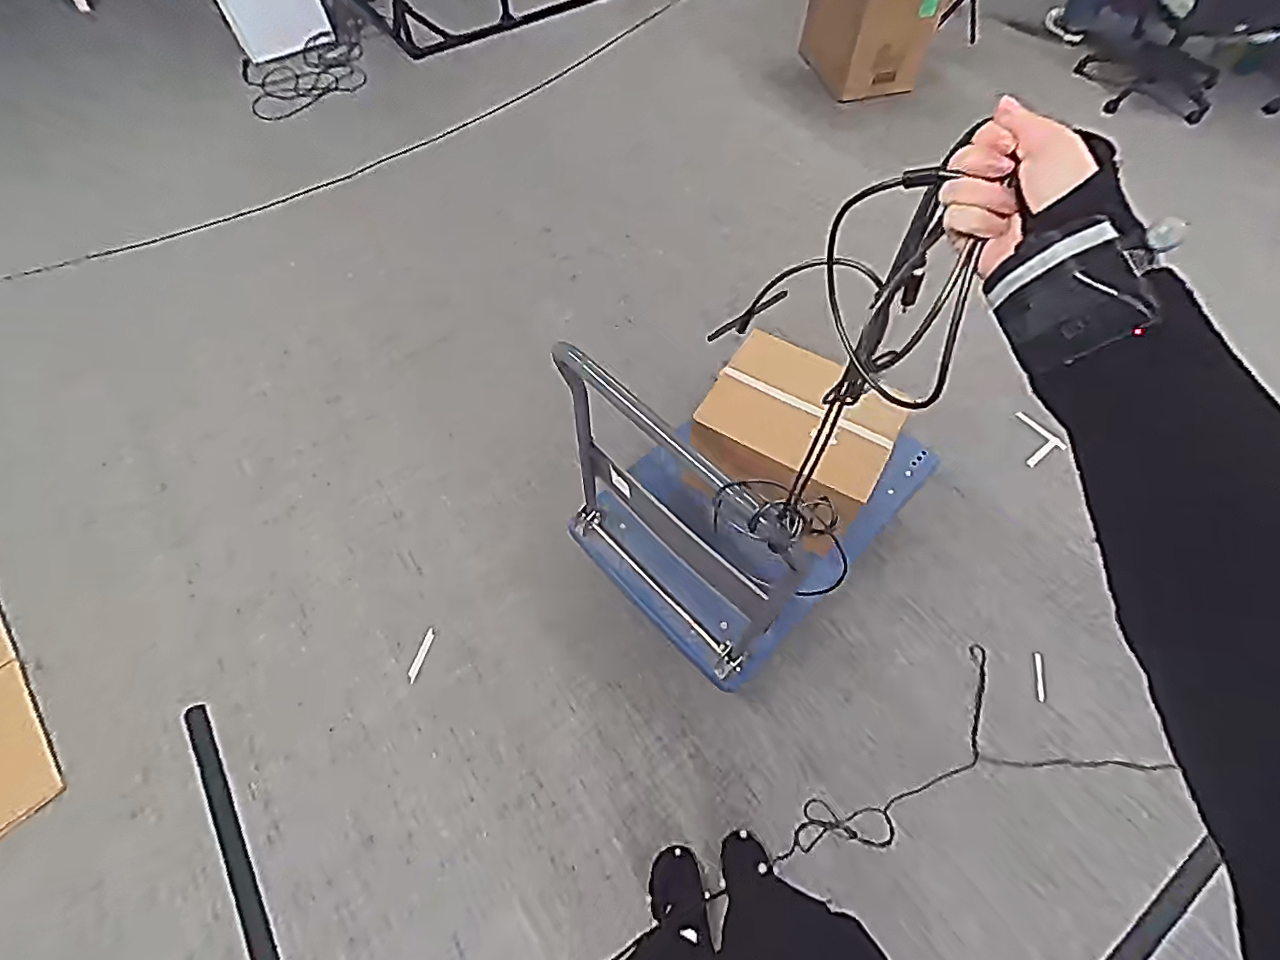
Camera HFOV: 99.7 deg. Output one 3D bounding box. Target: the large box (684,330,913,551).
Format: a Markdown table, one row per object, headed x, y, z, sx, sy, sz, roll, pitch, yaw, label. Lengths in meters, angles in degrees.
| x | y | z | sx | sy | sz | roll | pitch | yaw | label |
| --- | --- | --- | --- | --- | --- | --- | --- | --- | --- |
| 0.359 | -0.090 | 1.318 | 0.408 | 0.320 | 0.320 | 29 | 67 | 14 | large box |
